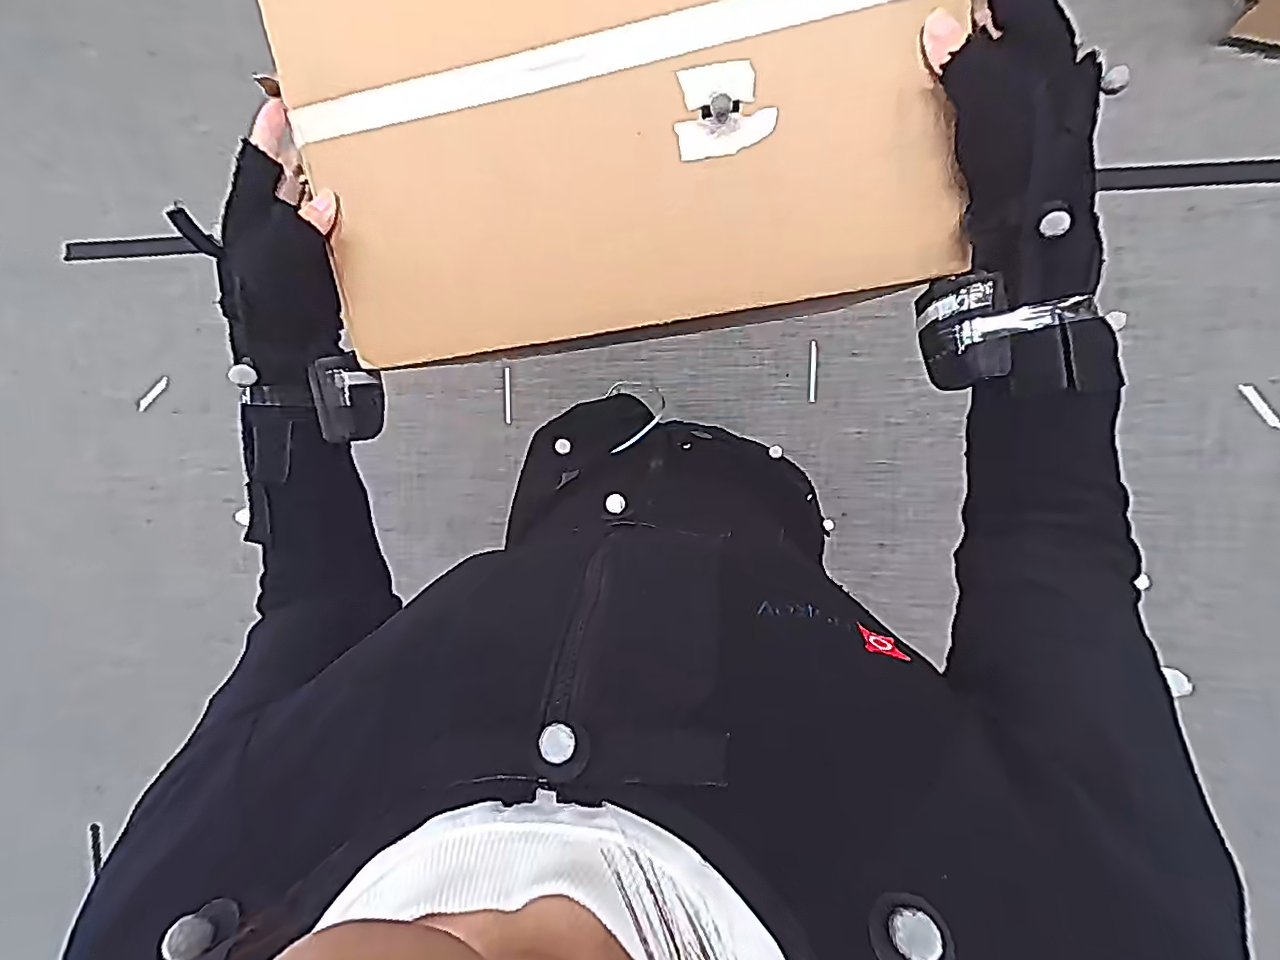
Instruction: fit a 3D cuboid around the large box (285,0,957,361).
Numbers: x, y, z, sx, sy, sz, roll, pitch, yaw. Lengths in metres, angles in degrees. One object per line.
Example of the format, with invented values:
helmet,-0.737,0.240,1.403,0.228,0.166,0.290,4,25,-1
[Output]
large box,-0.006,-0.296,0.477,0.408,0.320,0.320,-8,104,7
